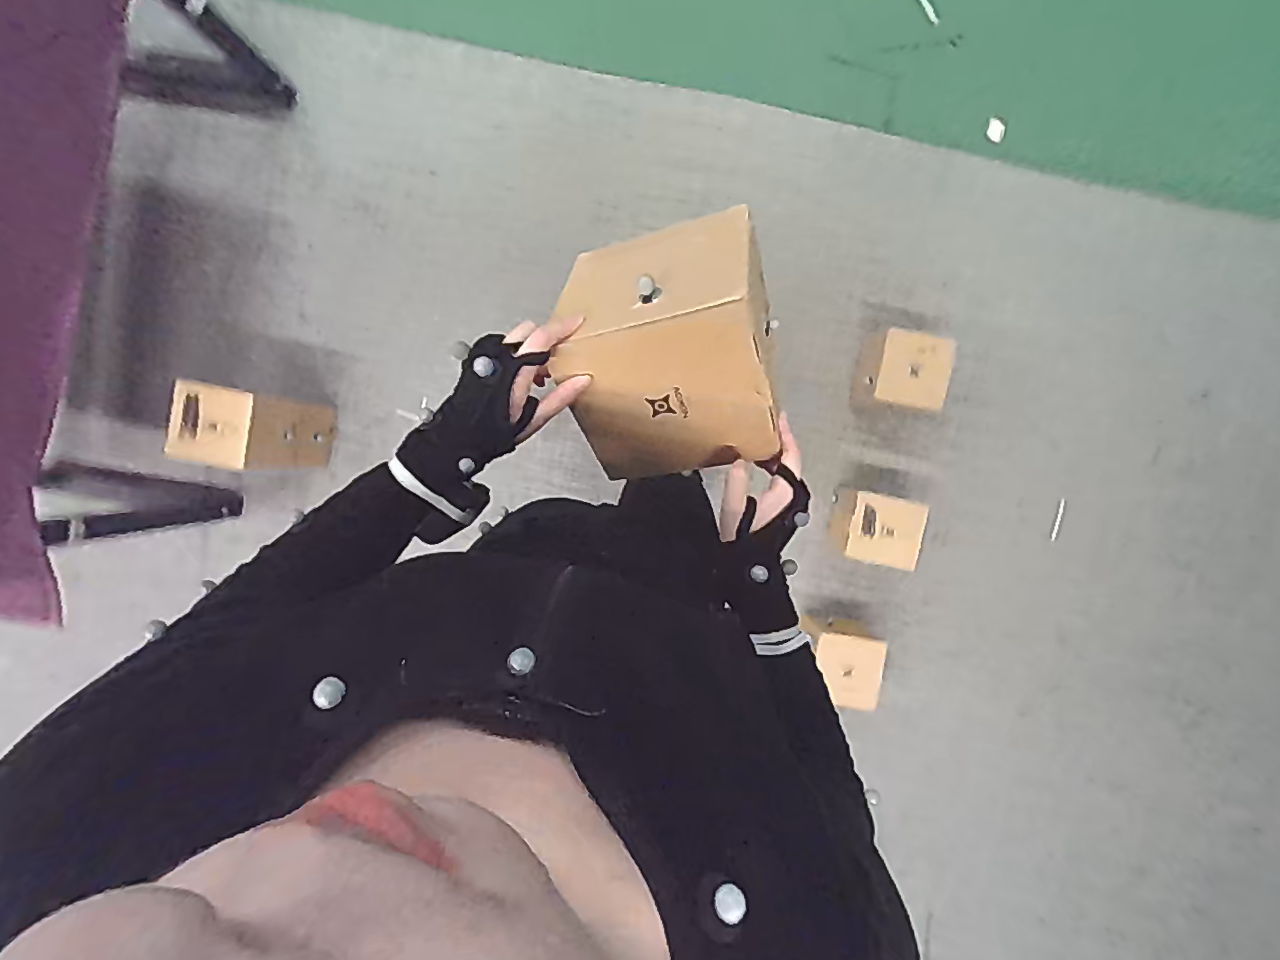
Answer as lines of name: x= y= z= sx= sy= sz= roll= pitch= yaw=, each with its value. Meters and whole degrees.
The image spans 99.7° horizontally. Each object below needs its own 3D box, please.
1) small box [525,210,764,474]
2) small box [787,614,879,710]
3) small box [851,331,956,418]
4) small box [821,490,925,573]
small box: x=0.020 y=-0.131 z=0.530 sx=0.179 sy=0.176 sz=0.168 roll=-9 pitch=135 yaw=20
small box: x=0.494 y=0.465 z=1.409 sx=0.168 sy=0.176 sz=0.179 roll=10 pitch=94 yaw=2
small box: x=0.652 y=-0.258 z=1.363 sx=0.168 sy=0.176 sz=0.179 roll=12 pitch=94 yaw=0
small box: x=0.587 y=0.124 z=1.387 sx=0.179 sy=0.176 sz=0.168 roll=13 pitch=94 yaw=0
